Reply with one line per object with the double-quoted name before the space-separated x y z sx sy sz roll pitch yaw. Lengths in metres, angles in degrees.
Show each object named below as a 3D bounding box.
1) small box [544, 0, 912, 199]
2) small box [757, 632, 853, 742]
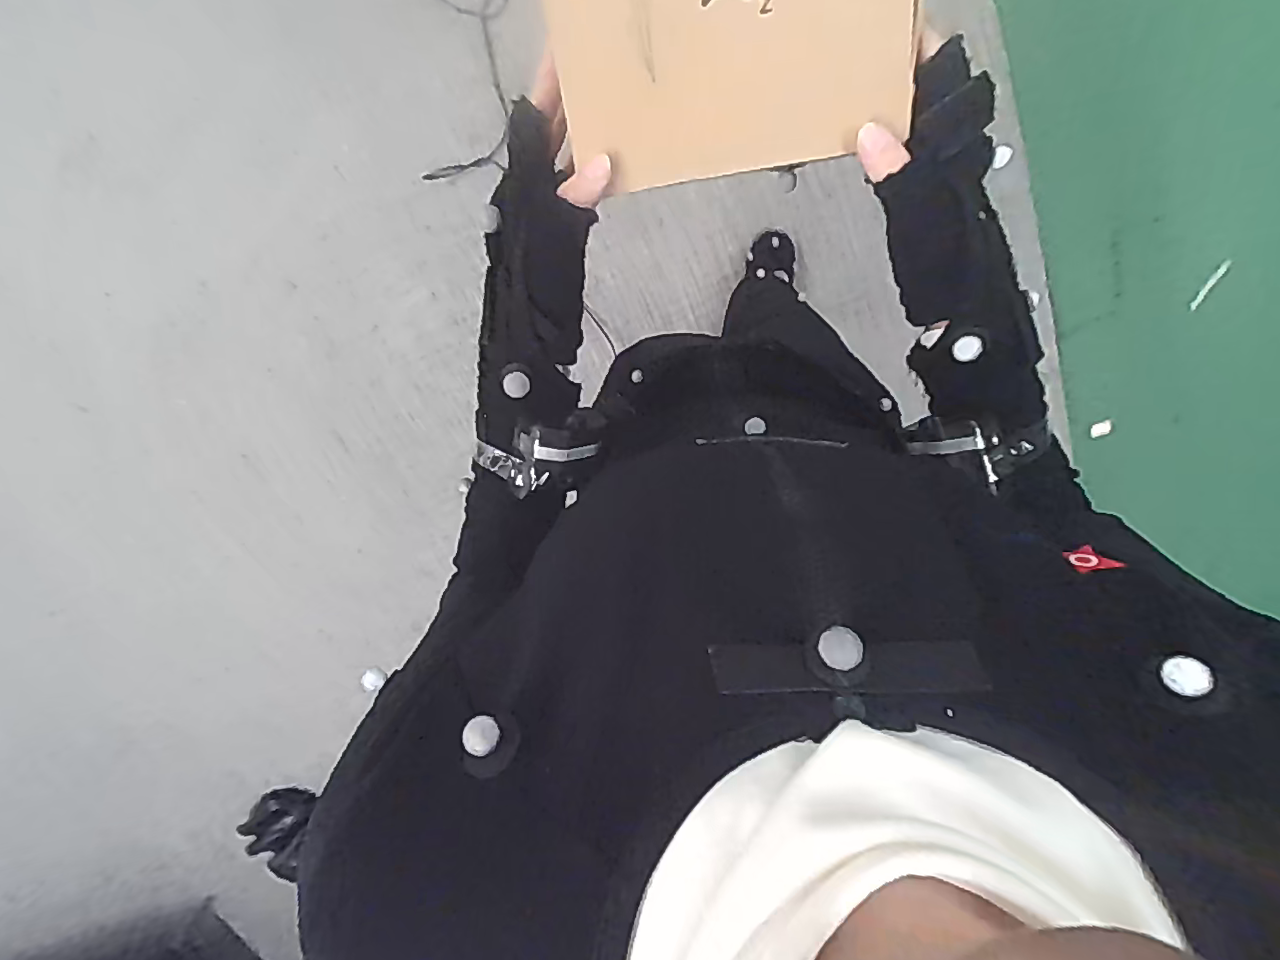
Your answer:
"small box" 0.037 -0.276 0.323 0.179 0.176 0.168 -10 117 4
"small box" 0.413 0.526 1.388 0.179 0.176 0.168 -26 107 11
